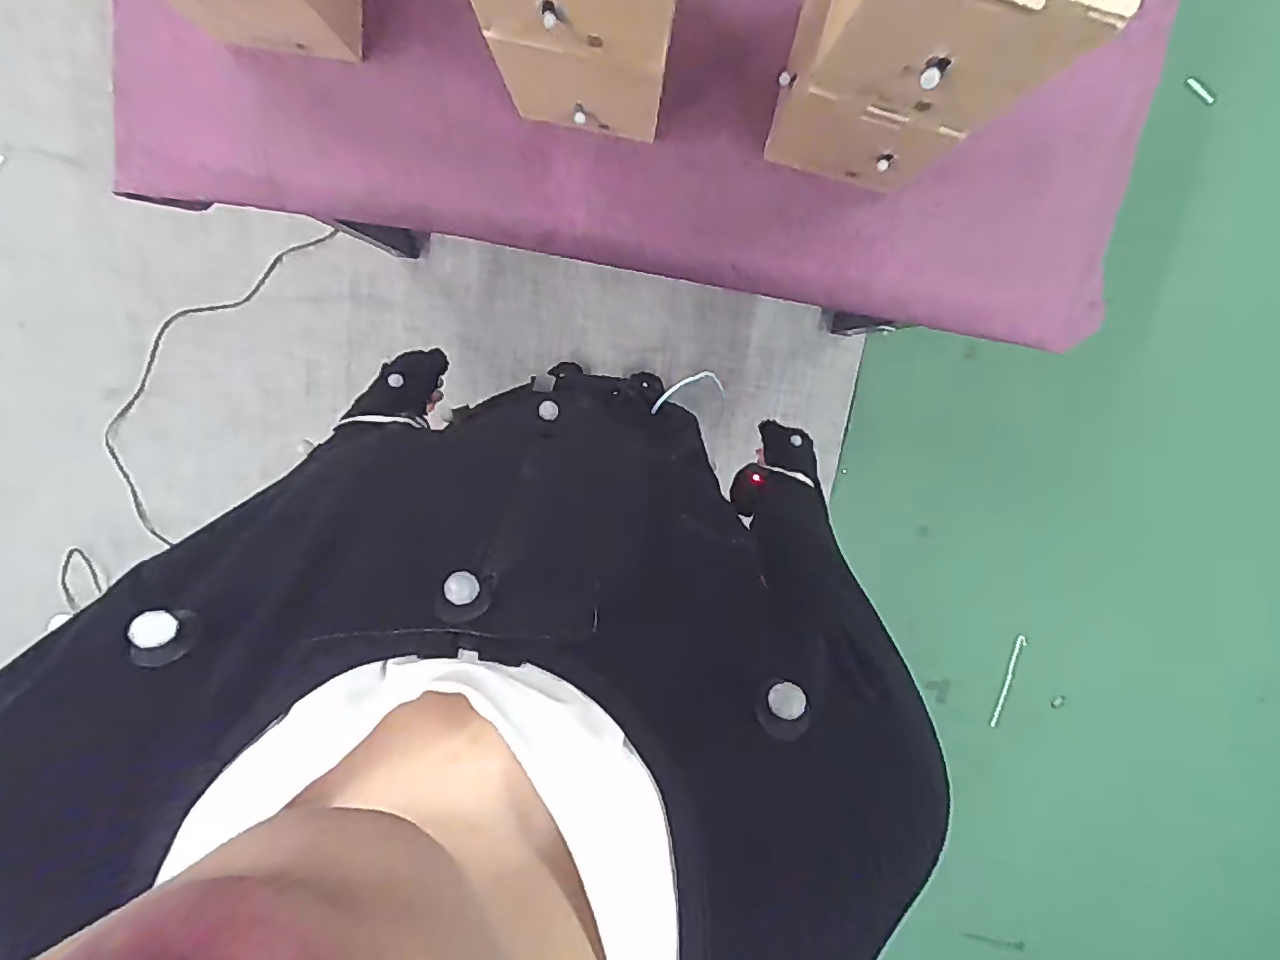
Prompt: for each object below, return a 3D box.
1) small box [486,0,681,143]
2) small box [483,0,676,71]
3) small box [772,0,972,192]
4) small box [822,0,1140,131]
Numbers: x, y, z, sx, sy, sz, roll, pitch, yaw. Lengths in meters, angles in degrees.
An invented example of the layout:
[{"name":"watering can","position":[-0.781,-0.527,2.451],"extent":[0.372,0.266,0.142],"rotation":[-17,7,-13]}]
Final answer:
[{"name":"small box","position":[-0.045,-0.485,0.553],"extent":[0.168,0.176,0.179],"rotation":[10,102,-3]},{"name":"small box","position":[-0.041,-0.451,0.393],"extent":[0.168,0.176,0.179],"rotation":[9,102,-3]},{"name":"small box","position":[0.252,-0.434,0.570],"extent":[0.168,0.176,0.179],"rotation":[14,101,-4]},{"name":"small box","position":[0.258,-0.404,0.409],"extent":[0.168,0.176,0.179],"rotation":[14,102,-5]}]
